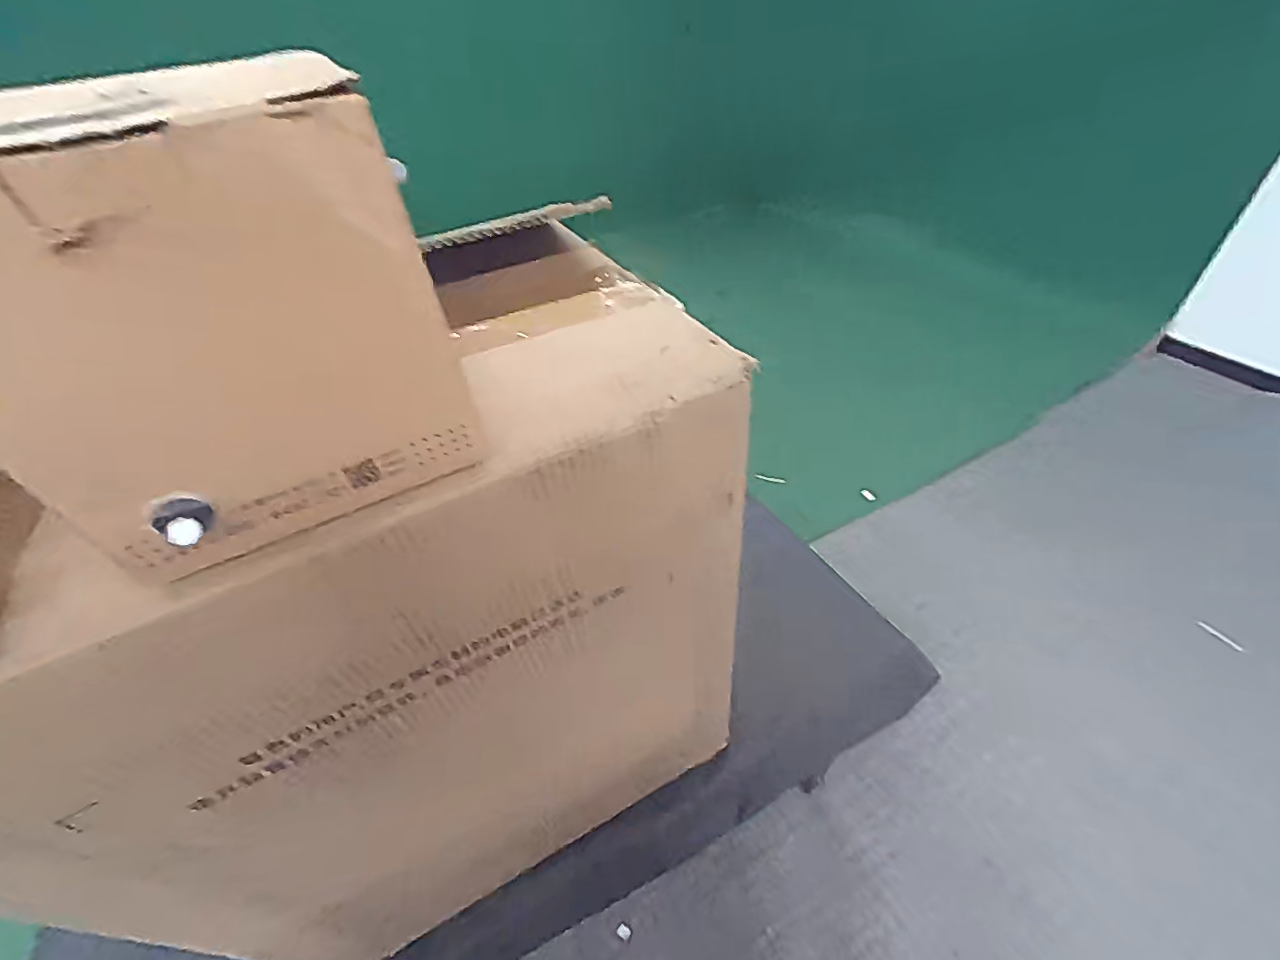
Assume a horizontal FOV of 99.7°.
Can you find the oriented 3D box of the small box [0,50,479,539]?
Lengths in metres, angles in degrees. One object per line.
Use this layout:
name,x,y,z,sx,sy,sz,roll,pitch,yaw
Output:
small box,-0.199,-0.093,0.273,0.168,0.176,0.179,-23,47,-18
